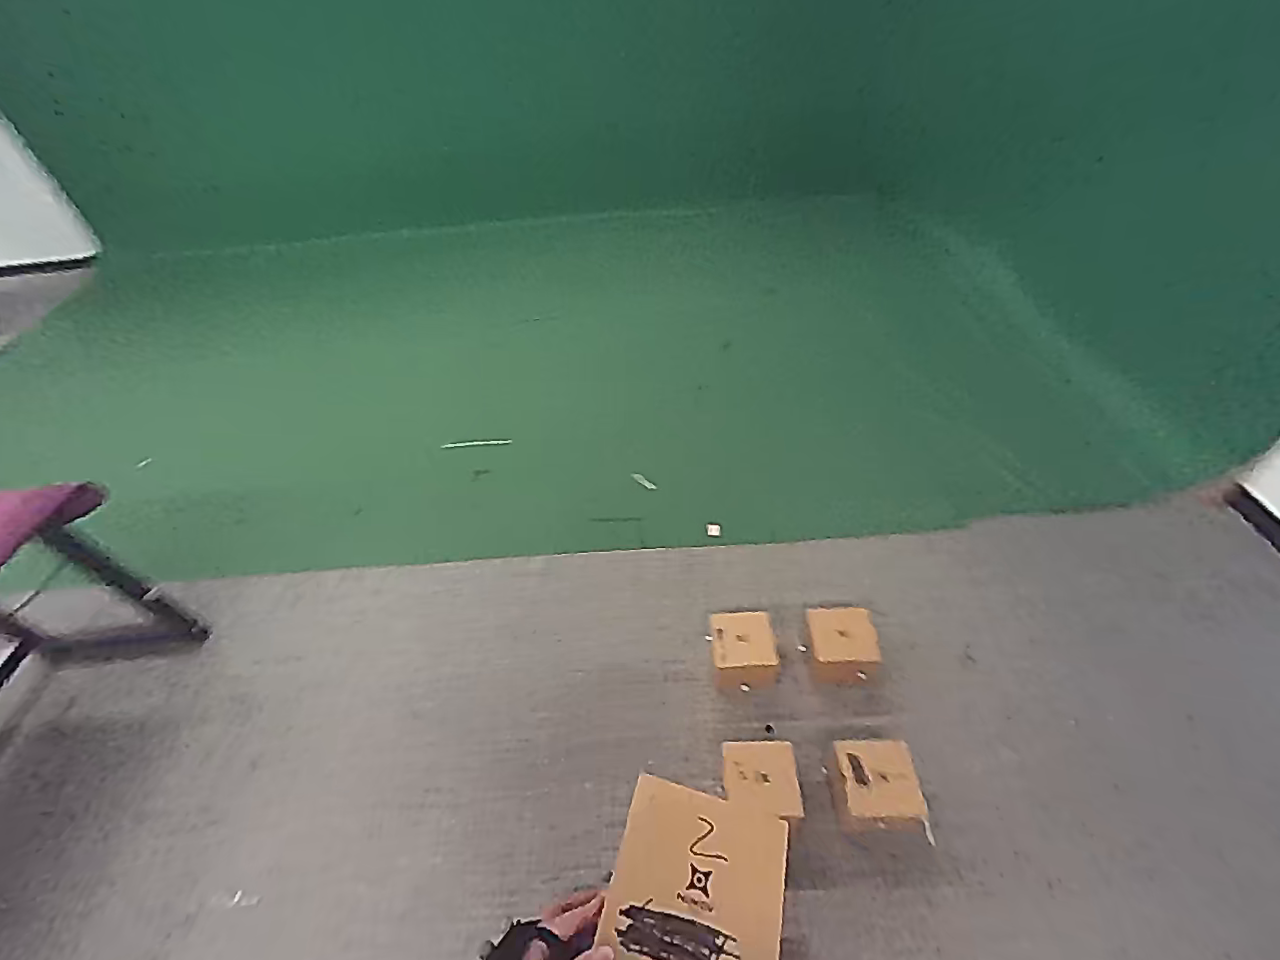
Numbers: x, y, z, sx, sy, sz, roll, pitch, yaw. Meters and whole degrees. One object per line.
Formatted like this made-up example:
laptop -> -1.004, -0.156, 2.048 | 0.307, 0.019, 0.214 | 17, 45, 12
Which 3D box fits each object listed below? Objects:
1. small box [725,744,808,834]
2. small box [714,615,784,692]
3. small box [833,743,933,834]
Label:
small box -> 0.310, 0.779, 1.361 | 0.179, 0.176, 0.168 | -3, 47, 5
small box -> 0.316, 0.518, 1.605 | 0.179, 0.176, 0.168 | -3, 46, 3
small box -> 0.587, 0.765, 1.337 | 0.179, 0.176, 0.168 | -2, 47, 5
